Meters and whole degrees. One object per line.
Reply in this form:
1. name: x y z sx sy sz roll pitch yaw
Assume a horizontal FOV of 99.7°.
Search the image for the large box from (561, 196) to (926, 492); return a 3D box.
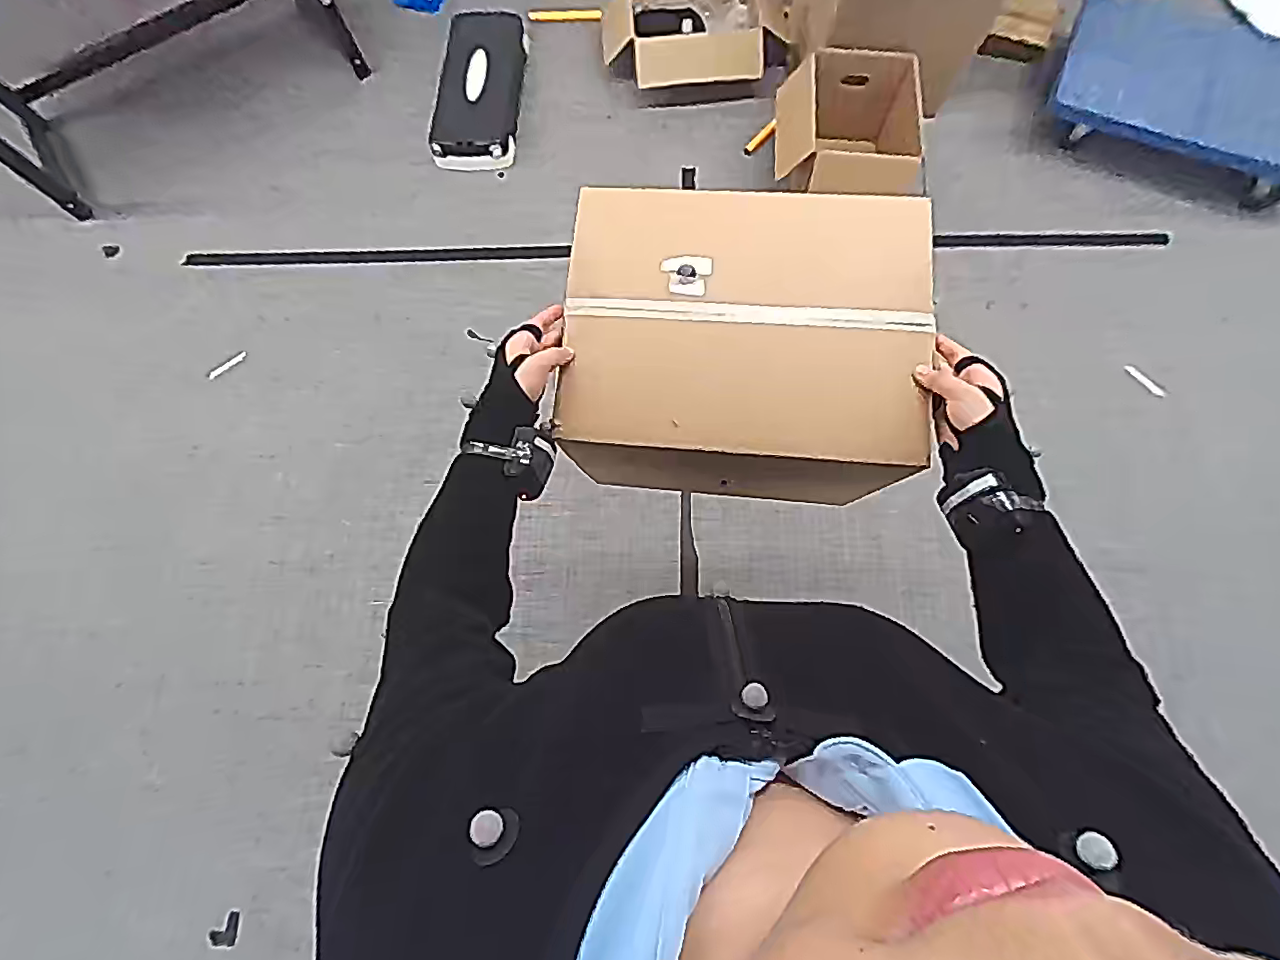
1. large box: 0.130 -0.159 0.761 0.408 0.320 0.320 3 80 6
